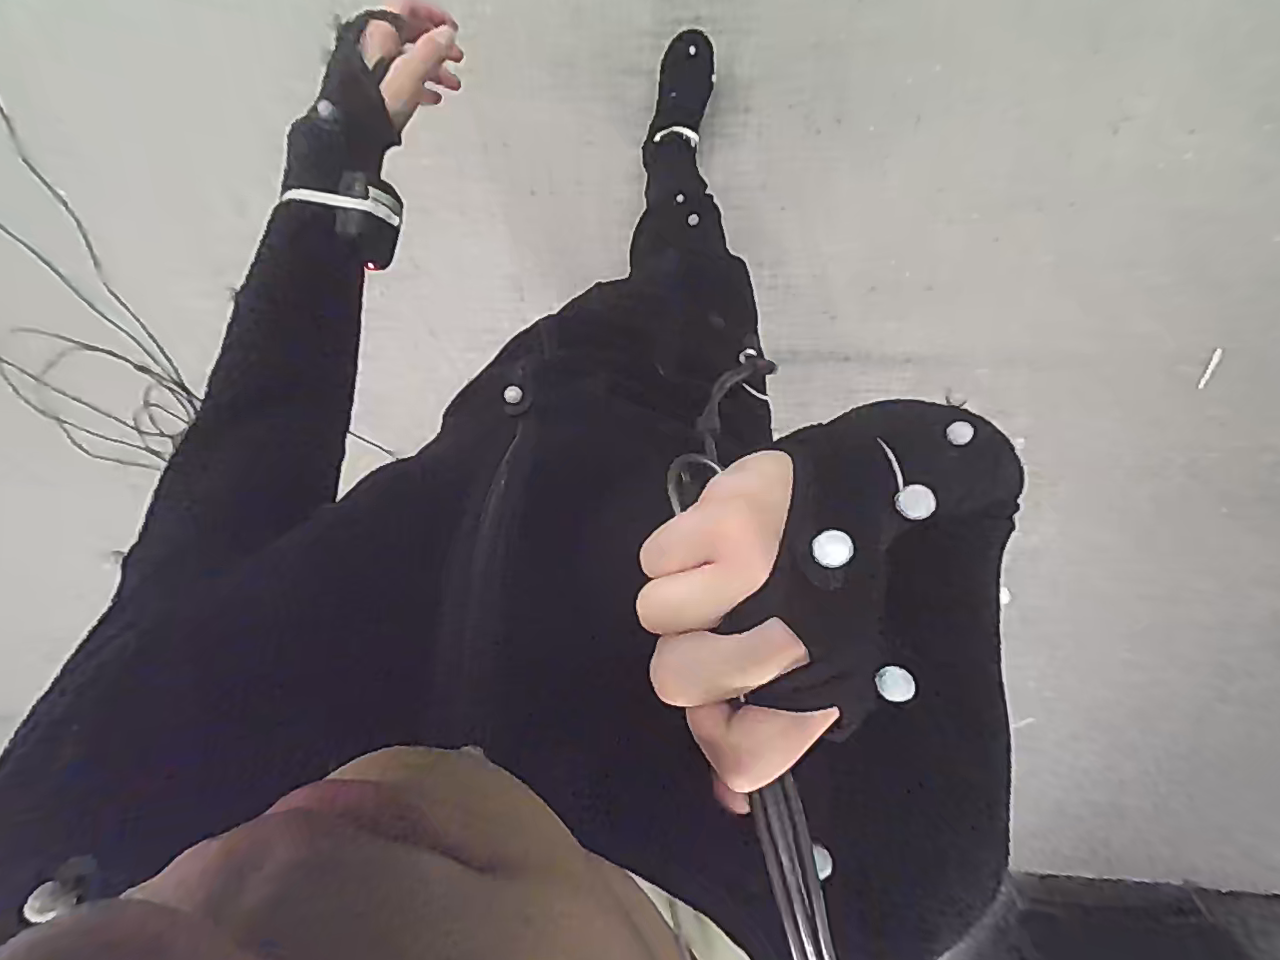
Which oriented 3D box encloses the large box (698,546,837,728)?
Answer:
[{"bbox_3d":[0.337,0.439,1.549,0.320,0.320,0.408,3,118,3],"label":"large box"}]
